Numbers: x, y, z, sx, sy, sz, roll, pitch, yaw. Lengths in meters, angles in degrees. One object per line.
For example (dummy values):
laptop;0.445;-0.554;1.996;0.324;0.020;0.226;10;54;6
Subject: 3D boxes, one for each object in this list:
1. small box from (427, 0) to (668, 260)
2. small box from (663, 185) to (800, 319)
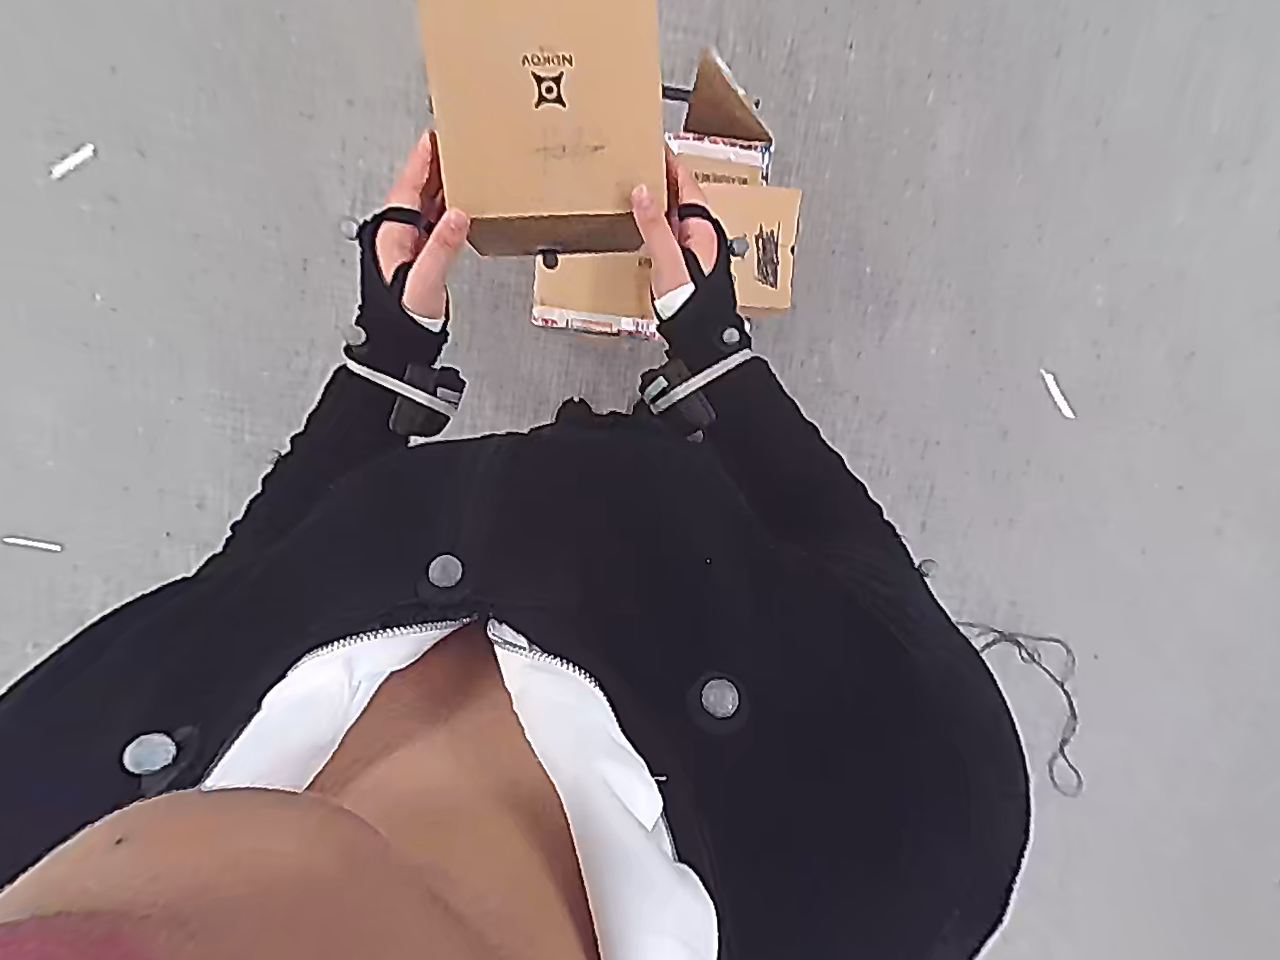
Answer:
small box;-0.074;-0.300;0.467;0.168;0.176;0.179;-5;104;-6
small box;0.135;-0.352;0.864;0.179;0.176;0.168;3;102;-3
